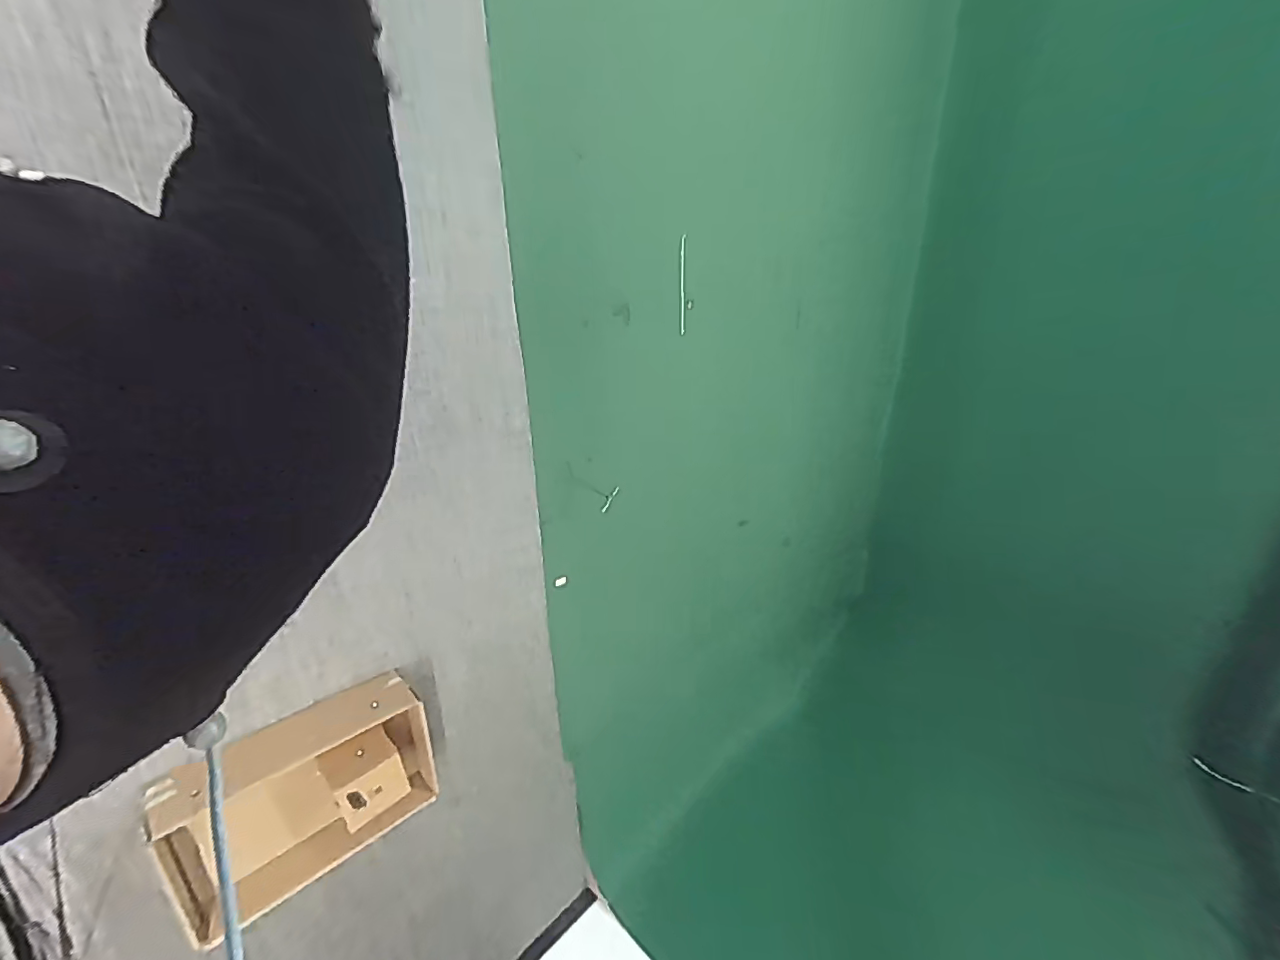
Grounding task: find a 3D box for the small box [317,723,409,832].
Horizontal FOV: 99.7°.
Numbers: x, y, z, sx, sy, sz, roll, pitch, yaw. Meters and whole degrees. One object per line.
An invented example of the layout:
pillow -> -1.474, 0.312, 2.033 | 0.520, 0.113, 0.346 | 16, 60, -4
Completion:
small box -> -0.802, 0.847, 1.556 | 0.179, 0.176, 0.168 | -26, 122, -42
